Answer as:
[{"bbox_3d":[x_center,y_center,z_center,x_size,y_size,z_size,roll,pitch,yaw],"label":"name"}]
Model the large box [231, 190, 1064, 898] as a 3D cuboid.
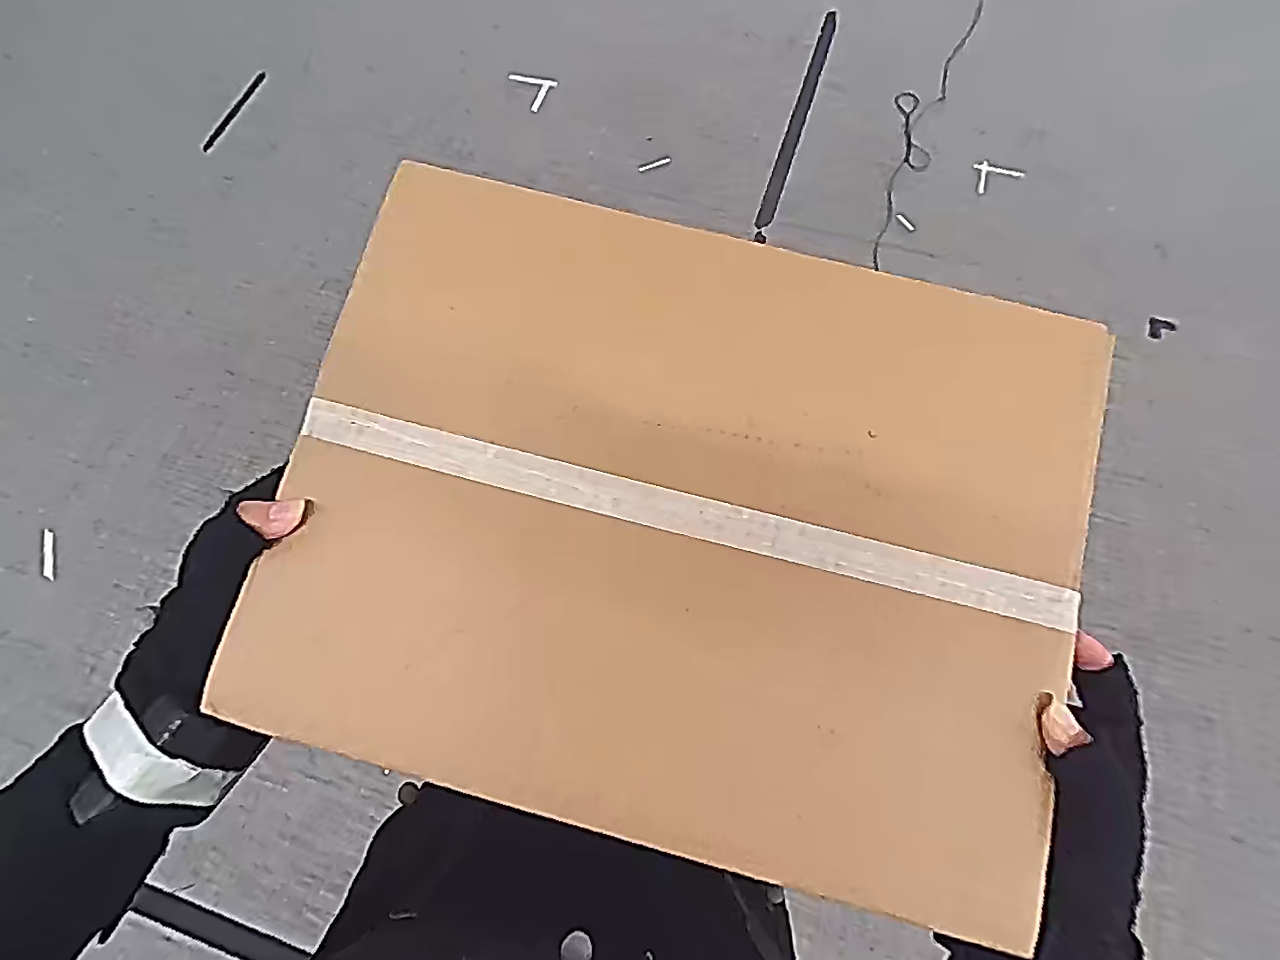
[{"bbox_3d":[0.017,0.038,0.439,0.408,0.320,0.320,14,80,3],"label":"large box"}]
